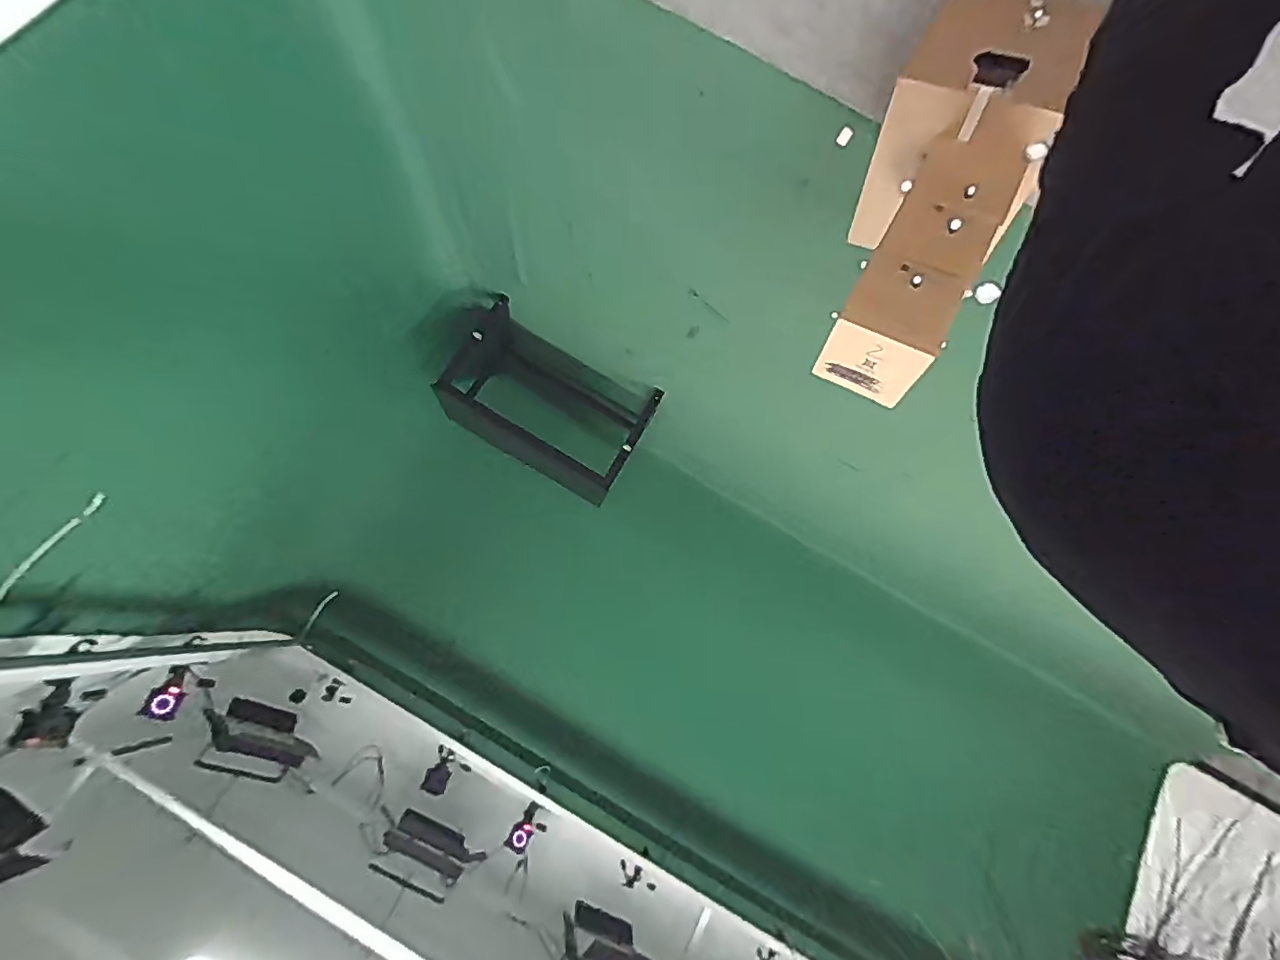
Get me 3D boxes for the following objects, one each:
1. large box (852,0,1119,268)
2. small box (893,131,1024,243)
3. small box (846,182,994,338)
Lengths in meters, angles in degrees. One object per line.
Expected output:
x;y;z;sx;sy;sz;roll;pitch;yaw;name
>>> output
0.699;-0.749;1.156;0.320;0.320;0.408;26;166;16;large box
0.605;-0.539;1.059;0.179;0.176;0.168;27;164;11;small box
0.521;-0.408;1.014;0.168;0.176;0.179;27;164;9;small box
